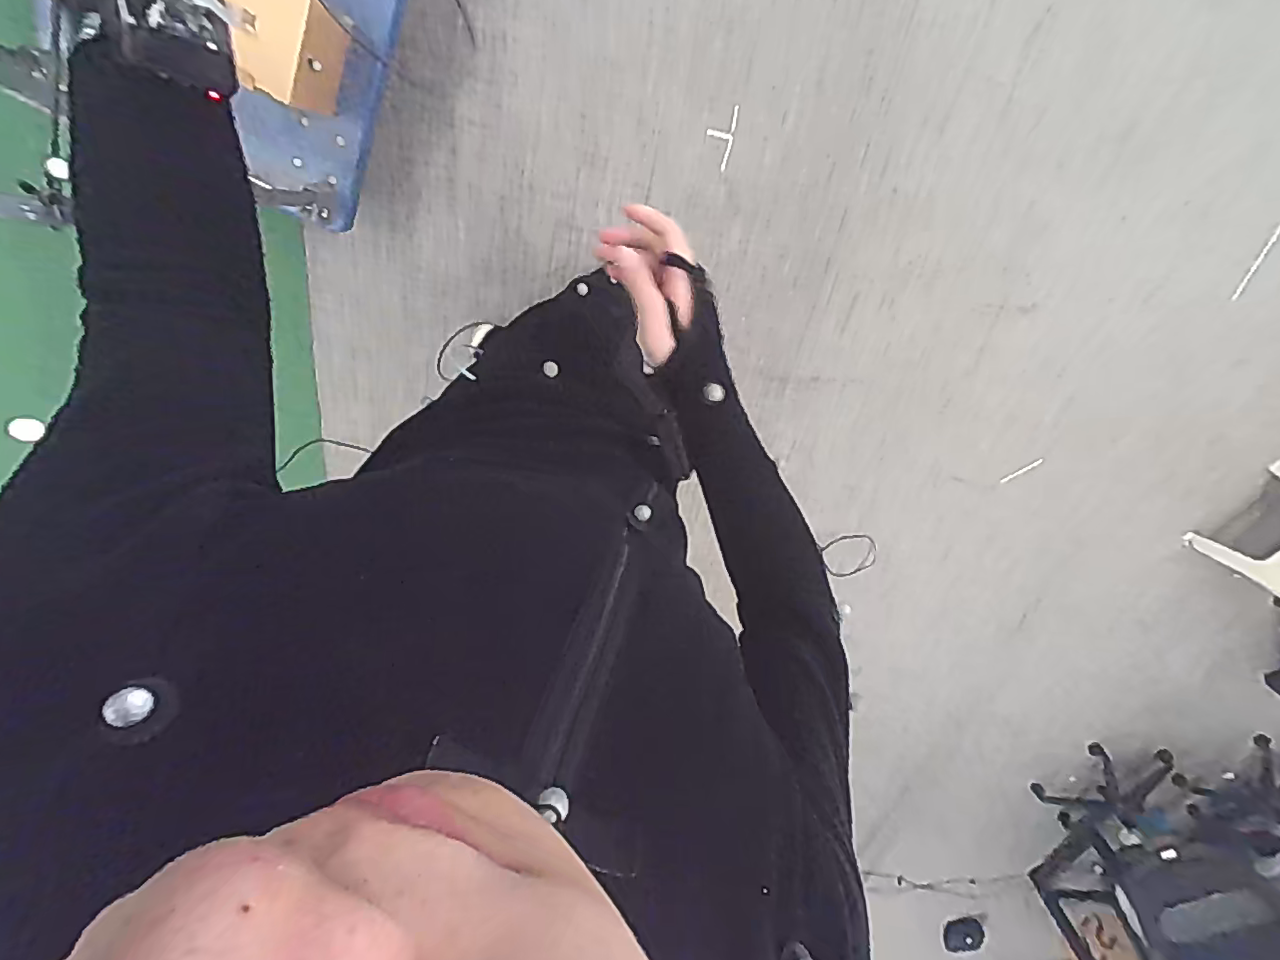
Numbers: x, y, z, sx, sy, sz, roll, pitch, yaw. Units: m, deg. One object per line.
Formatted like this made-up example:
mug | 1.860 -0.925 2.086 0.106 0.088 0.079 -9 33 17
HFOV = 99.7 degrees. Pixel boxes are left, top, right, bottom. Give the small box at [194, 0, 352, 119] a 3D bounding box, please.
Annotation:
small box | -0.641 -0.782 0.963 0.168 0.176 0.179 23 116 -15
